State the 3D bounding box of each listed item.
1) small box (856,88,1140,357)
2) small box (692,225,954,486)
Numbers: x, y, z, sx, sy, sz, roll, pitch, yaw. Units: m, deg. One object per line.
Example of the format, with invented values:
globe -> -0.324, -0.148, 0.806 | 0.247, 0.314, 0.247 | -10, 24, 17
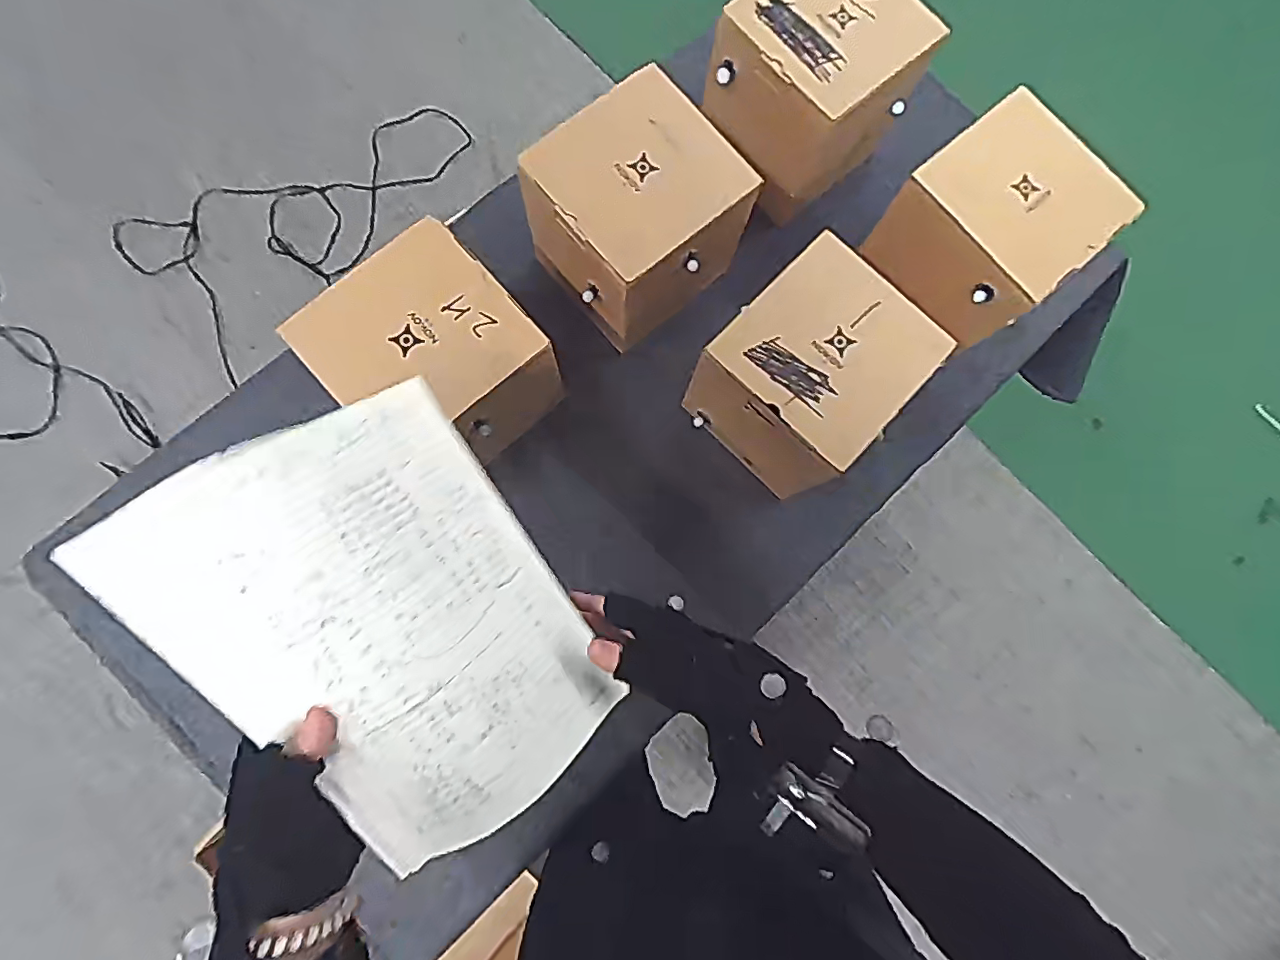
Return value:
small box -> 0.375, -0.273, 0.610 | 0.168, 0.176, 0.179 | -39, 85, -8
small box -> 0.171, -0.113, 0.570 | 0.168, 0.176, 0.179 | 44, 81, 4
